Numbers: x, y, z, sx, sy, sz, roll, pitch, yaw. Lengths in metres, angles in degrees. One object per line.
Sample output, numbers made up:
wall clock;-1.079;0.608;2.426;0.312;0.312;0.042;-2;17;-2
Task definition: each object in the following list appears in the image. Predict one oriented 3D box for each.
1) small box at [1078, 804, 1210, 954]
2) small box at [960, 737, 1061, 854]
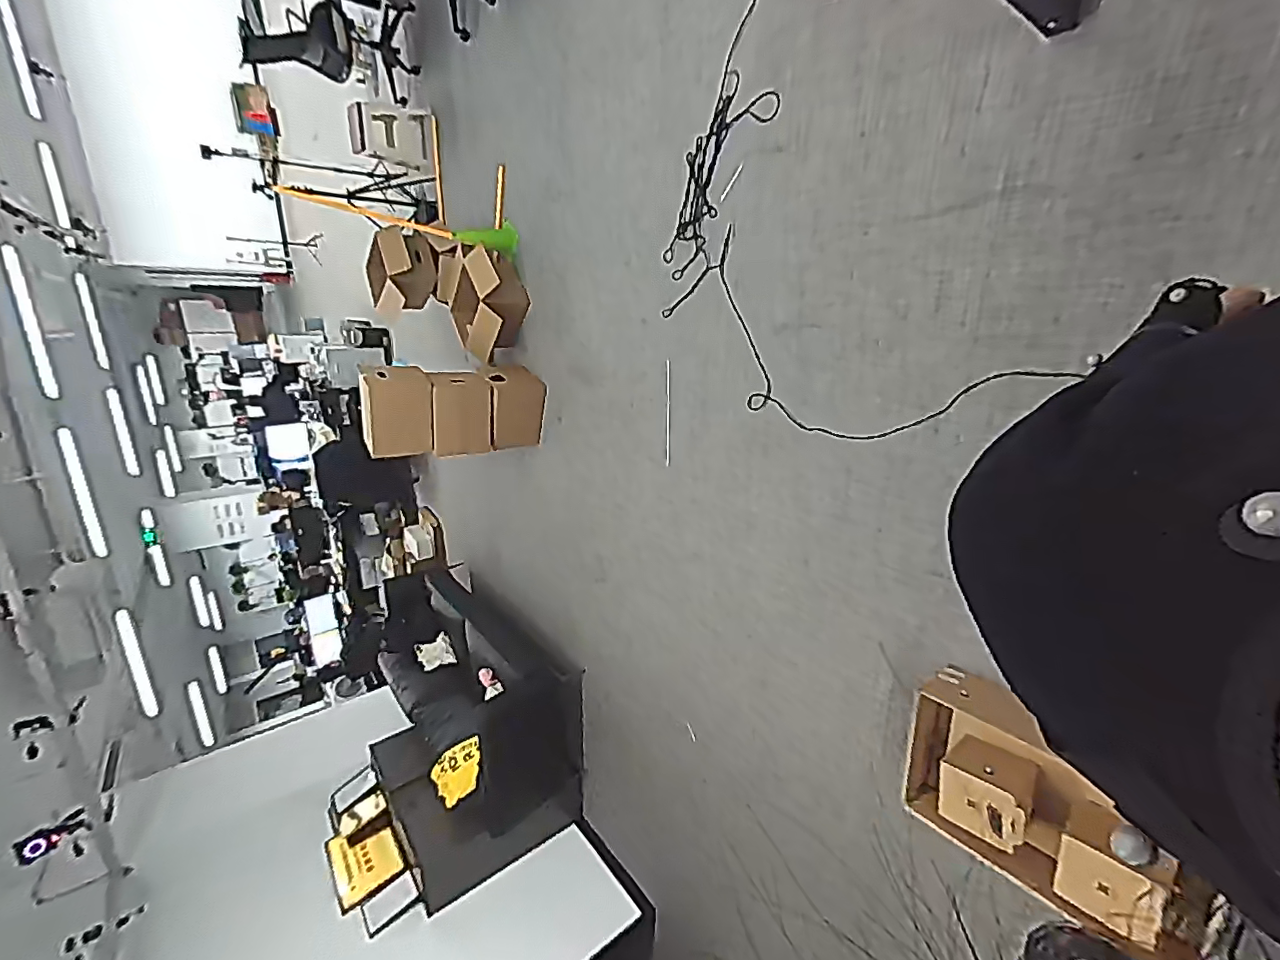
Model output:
small box;1.121;0.869;1.202;0.179;0.176;0.168;15;111;54
small box;0.964;0.806;1.407;0.179;0.176;0.168;9;107;53
